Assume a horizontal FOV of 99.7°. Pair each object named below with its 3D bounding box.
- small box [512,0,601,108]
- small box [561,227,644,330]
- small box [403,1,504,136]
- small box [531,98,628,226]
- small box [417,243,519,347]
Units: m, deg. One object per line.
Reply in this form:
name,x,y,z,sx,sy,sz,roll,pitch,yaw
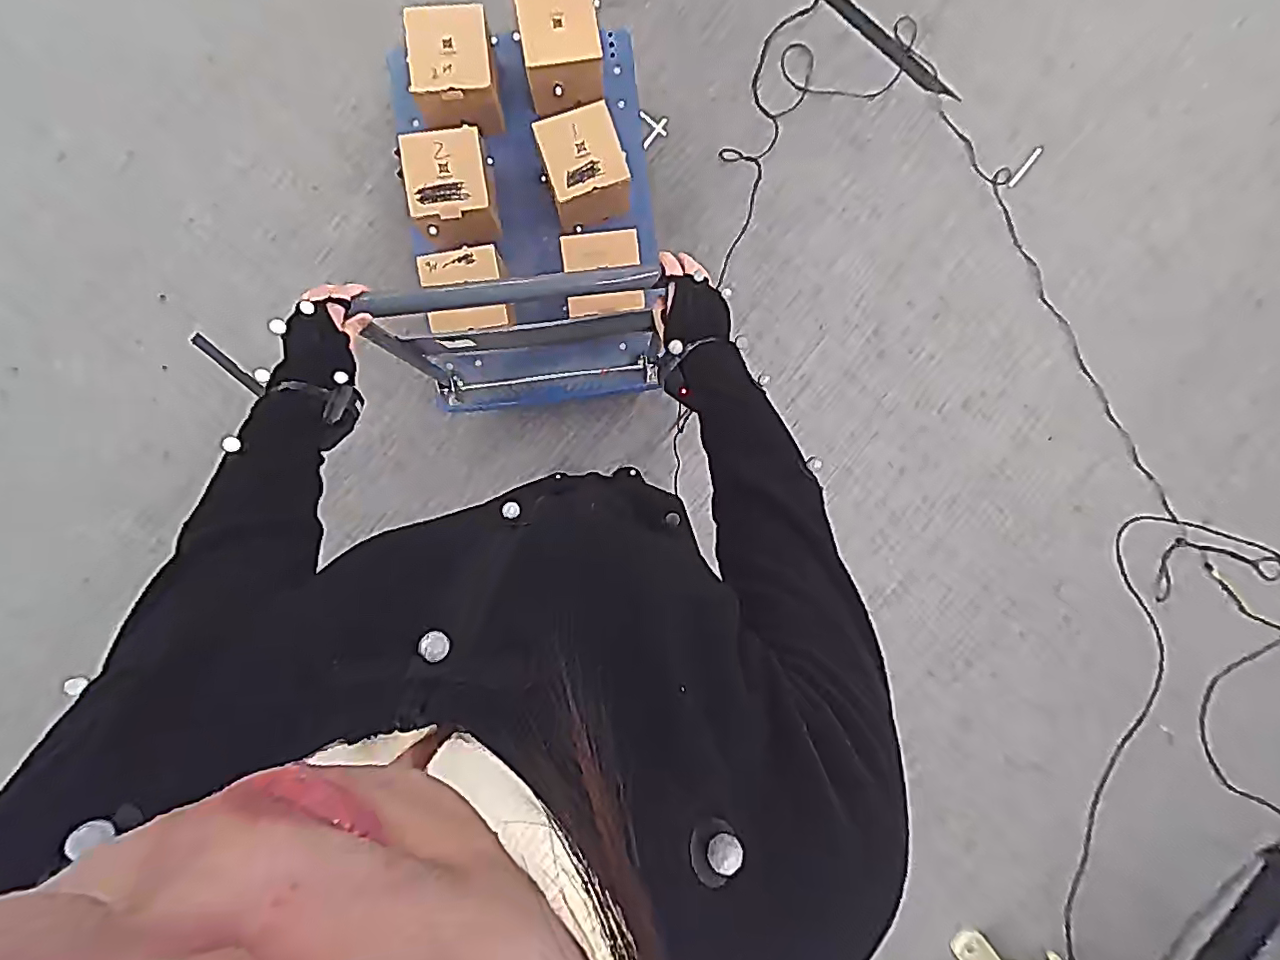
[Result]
small box,-0.181,-0.971,1.211,0.168,0.176,0.179,-10,92,-3
small box,-0.083,-0.449,1.234,0.168,0.176,0.179,-7,91,-3
small box,-0.406,-0.903,1.198,0.168,0.176,0.179,-6,93,-3
small box,-0.130,-0.703,1.222,0.168,0.176,0.179,-20,92,-3
small box,-0.378,-0.405,1.217,0.168,0.176,0.179,-11,93,-4
